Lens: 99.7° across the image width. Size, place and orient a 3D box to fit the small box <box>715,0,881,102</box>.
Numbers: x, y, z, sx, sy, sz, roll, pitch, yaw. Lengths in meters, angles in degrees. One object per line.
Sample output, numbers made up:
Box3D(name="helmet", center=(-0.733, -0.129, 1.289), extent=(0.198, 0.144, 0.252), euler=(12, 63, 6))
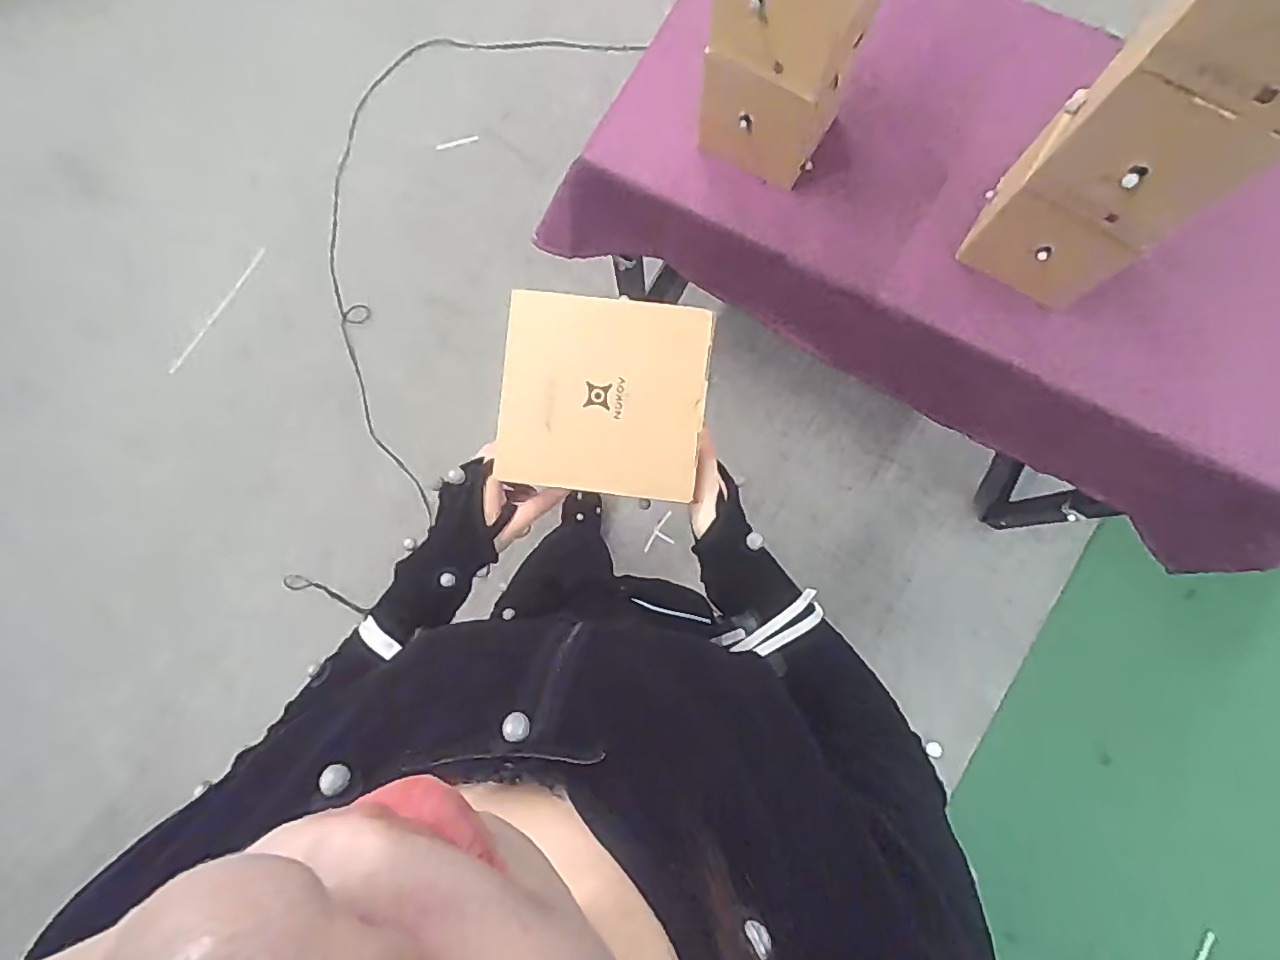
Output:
Box3D(name="small box", center=(0.203, -0.611, 0.649), extent=(0.168, 0.176, 0.179), euler=(32, 82, 7))

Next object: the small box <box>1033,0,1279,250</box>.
Box3D(name="small box", center=(0.590, -0.398, 0.600), extent=(0.168, 0.176, 0.179), euler=(35, 84, 7))

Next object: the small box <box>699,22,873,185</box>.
Box3D(name="small box", center=(0.205, -0.584, 0.810), extent=(0.179, 0.176, 0.168), euler=(31, 83, 7))

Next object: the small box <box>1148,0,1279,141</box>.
Box3D(name="small box", center=(0.581, -0.425, 0.437), extent=(0.168, 0.176, 0.179), euler=(34, 83, 7))
